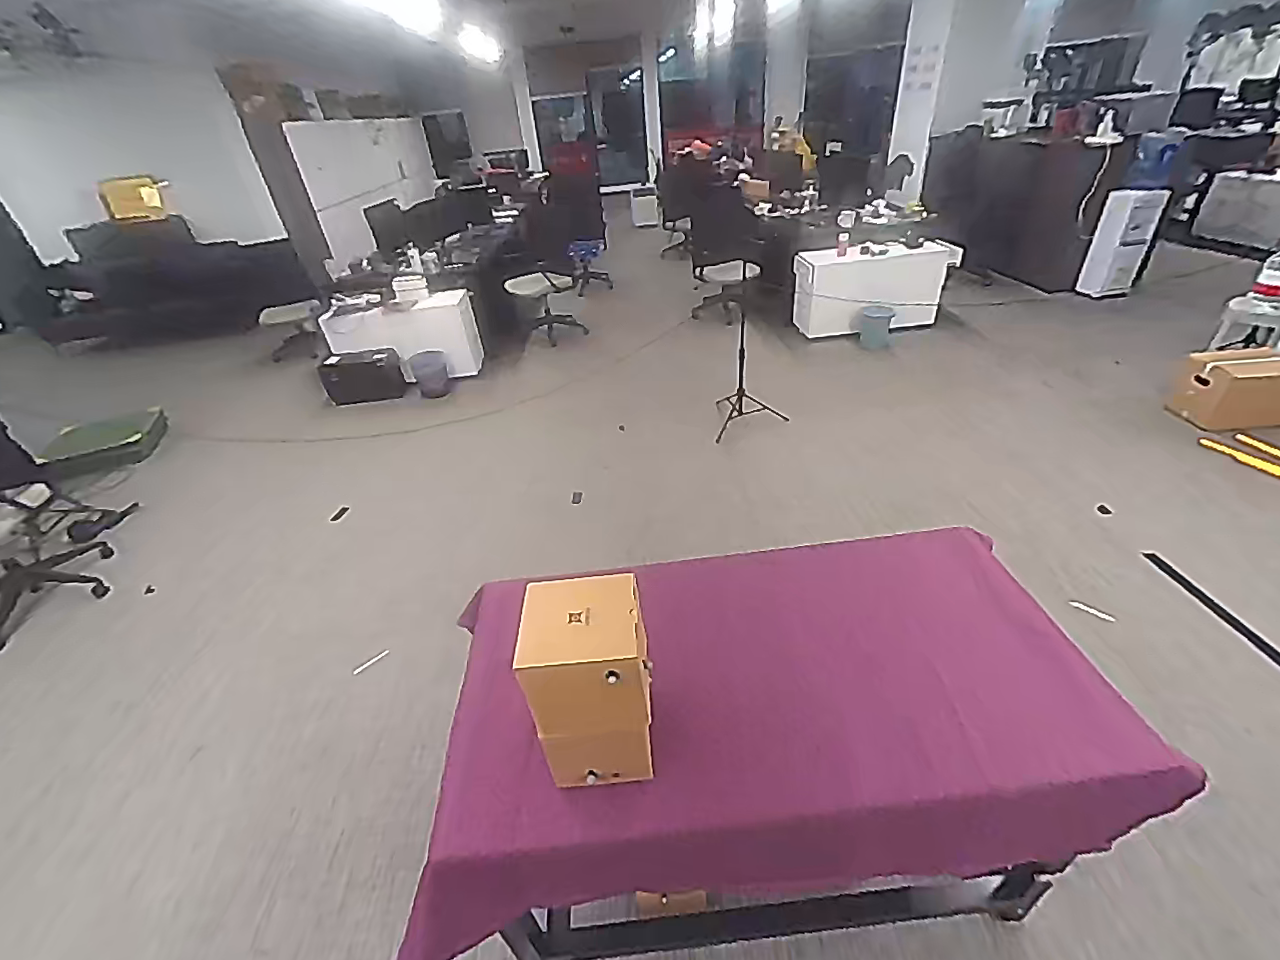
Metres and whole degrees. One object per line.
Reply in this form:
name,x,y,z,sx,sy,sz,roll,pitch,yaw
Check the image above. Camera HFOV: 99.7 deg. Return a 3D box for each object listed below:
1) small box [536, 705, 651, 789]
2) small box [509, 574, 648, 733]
small box,-0.073,0.400,0.934,0.168,0.176,0.179,-6,35,1
small box,-0.085,0.270,0.837,0.179,0.176,0.168,-6,35,2
